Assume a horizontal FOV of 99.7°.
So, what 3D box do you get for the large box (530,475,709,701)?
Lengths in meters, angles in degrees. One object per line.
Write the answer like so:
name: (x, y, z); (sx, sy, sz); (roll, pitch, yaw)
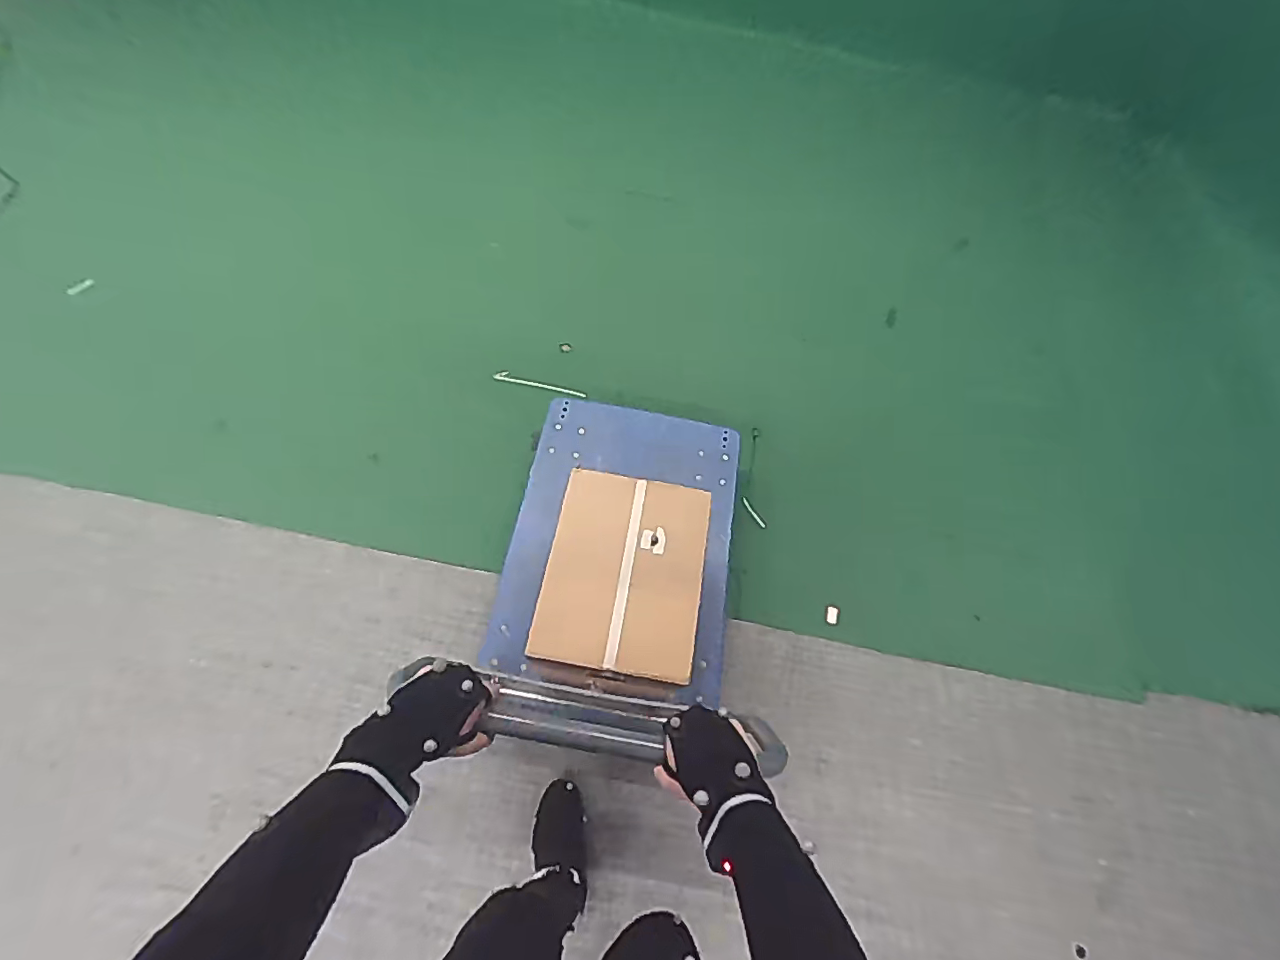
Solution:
large box: (-0.039, 0.255, 1.222); (0.320, 0.320, 0.408); (11, 62, 0)
